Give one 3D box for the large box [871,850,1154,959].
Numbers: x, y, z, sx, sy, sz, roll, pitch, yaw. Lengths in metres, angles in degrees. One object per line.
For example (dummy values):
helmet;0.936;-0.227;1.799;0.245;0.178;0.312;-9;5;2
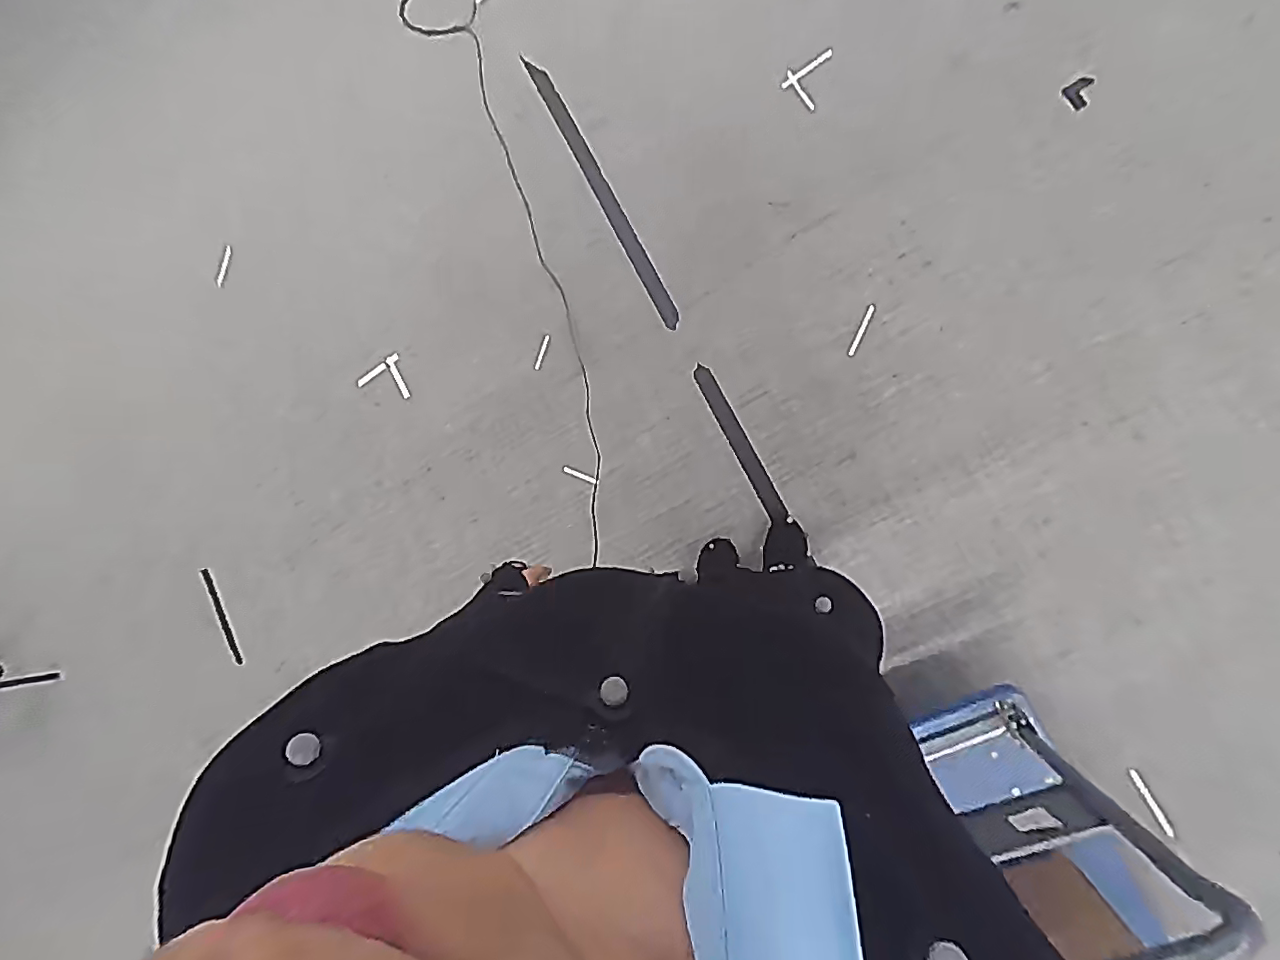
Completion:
large box;0.693;0.951;0.957;0.408;0.320;0.320;-26;82;11
